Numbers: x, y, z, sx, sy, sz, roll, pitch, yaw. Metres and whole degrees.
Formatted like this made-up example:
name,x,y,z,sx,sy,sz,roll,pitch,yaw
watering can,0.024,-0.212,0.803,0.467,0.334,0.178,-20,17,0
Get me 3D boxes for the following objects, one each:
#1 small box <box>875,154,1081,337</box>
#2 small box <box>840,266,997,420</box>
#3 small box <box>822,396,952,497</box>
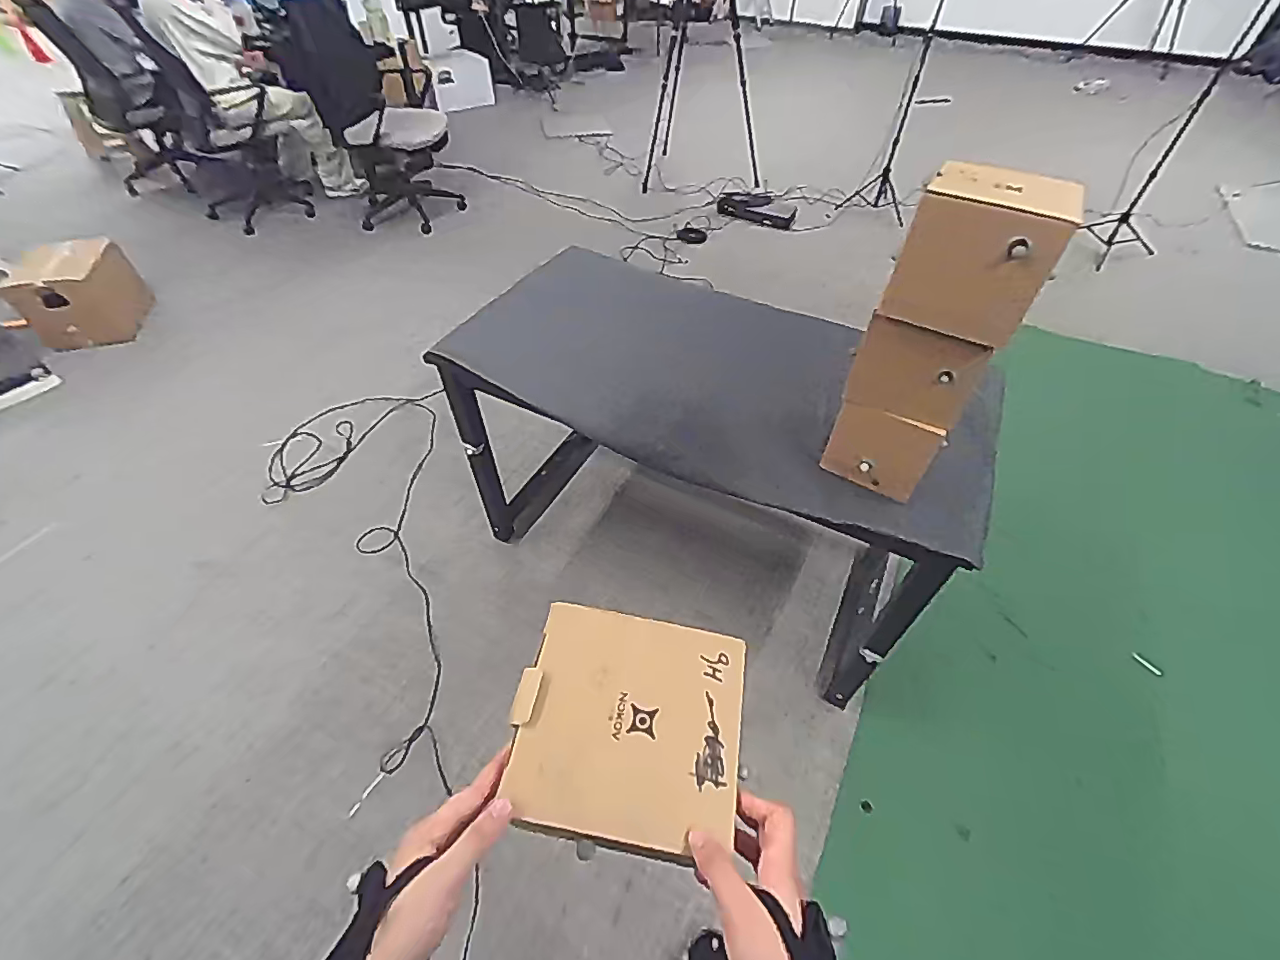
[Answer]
name,x,y,z,sx,sy,sz,roll,pitch,yaw
small box,0.451,-0.316,0.735,0.179,0.176,0.168,24,49,21
small box,0.446,-0.219,0.871,0.179,0.176,0.168,20,47,18
small box,0.452,-0.103,0.985,0.168,0.176,0.179,27,52,23
